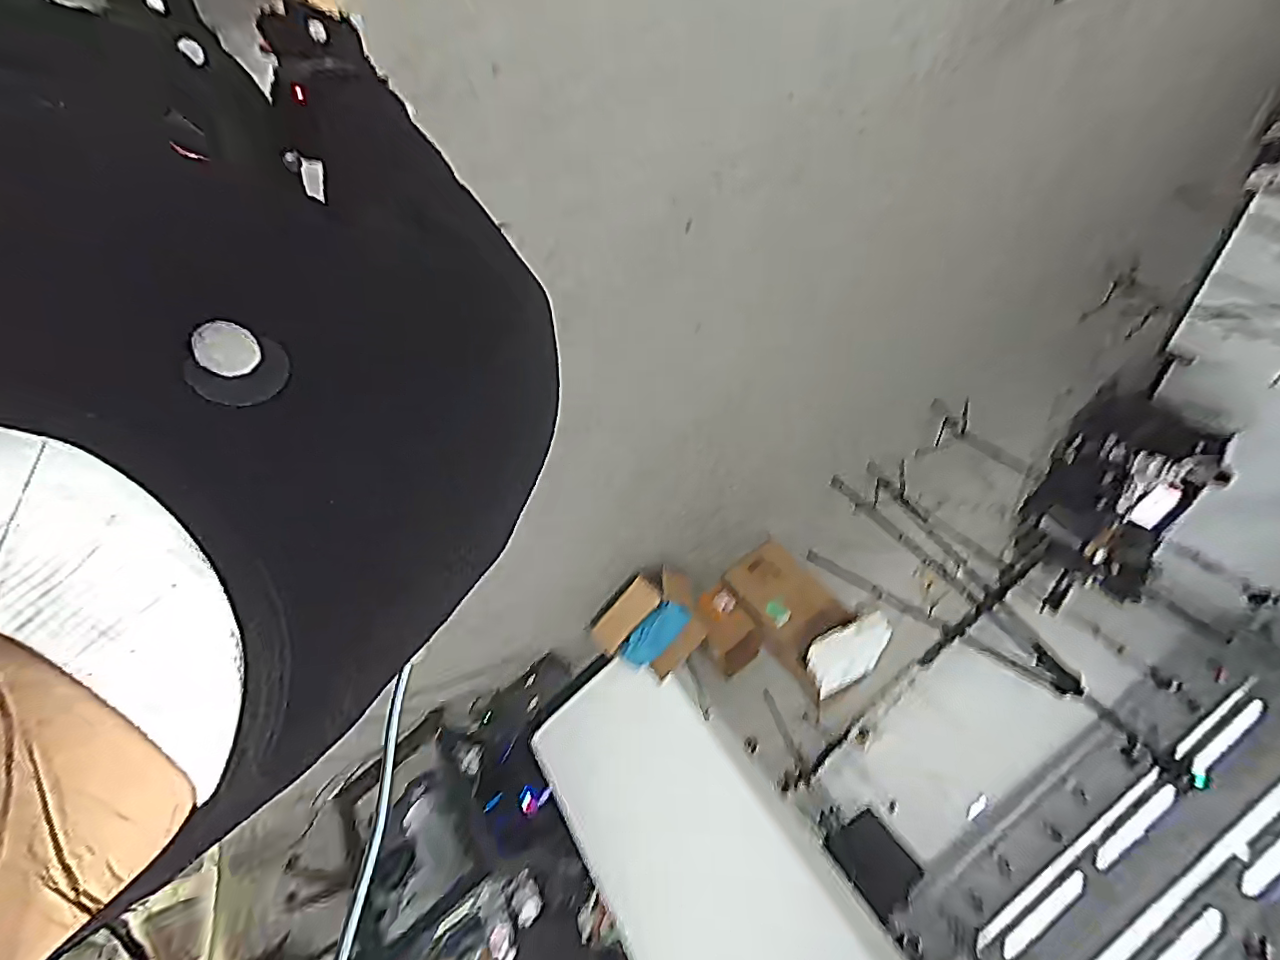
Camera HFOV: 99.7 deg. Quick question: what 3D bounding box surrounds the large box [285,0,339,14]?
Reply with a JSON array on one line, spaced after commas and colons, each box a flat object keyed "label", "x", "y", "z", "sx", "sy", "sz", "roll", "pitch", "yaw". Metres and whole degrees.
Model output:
[{"label": "large box", "x": -0.511, "y": -0.966, "z": 0.745, "sx": 0.320, "sy": 0.320, "sz": 0.408, "roll": -40, "pitch": 141, "yaw": -6}]
